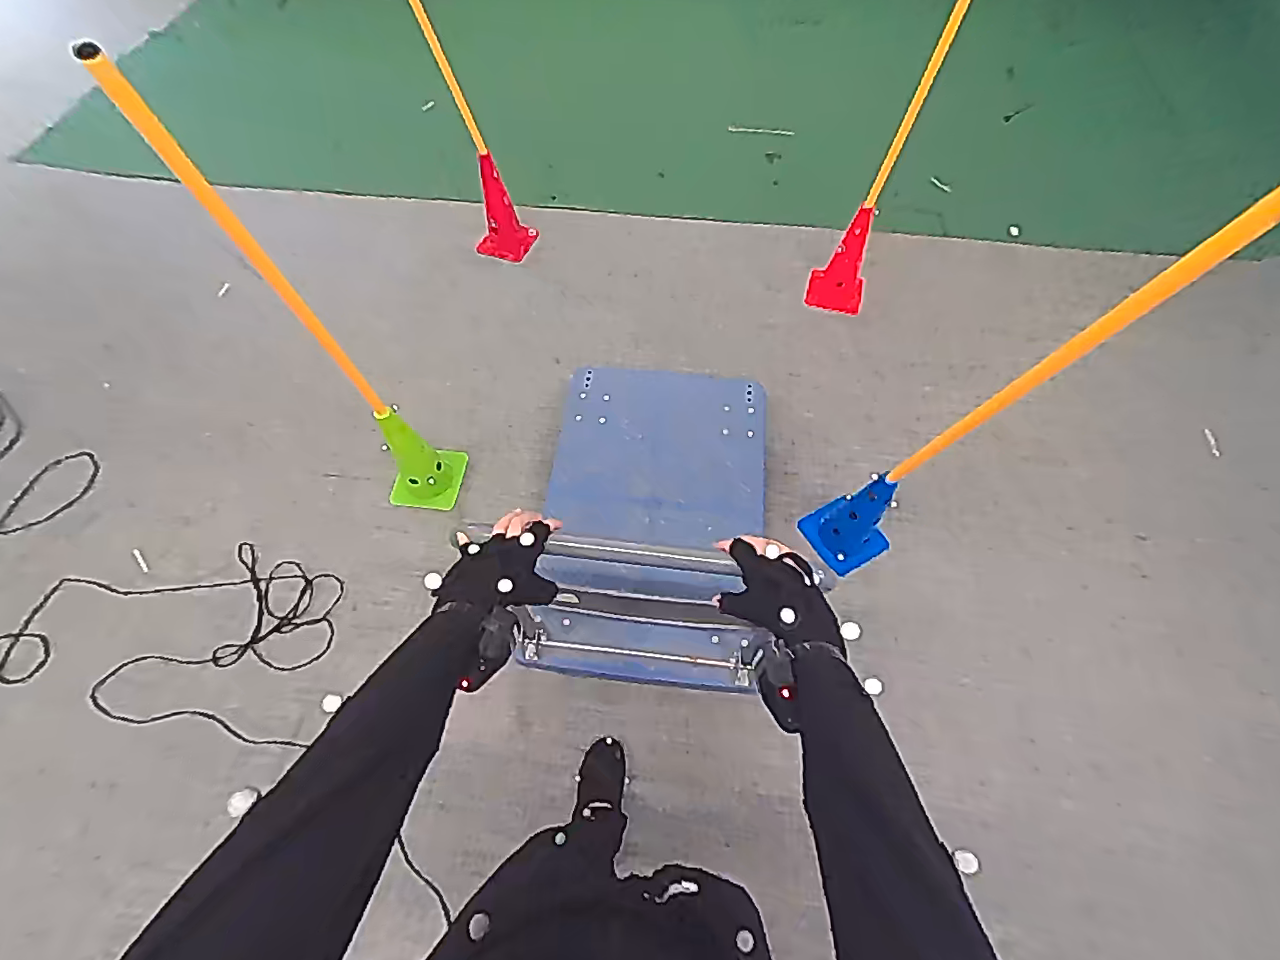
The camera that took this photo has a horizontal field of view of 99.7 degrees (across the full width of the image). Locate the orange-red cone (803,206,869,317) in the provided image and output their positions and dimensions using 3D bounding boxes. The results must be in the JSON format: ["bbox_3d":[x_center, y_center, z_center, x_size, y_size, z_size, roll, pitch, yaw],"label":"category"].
[{"bbox_3d":[0.717,-0.774,1.871,0.198,0.360,0.199,16,64,10],"label":"orange-red cone"}]
